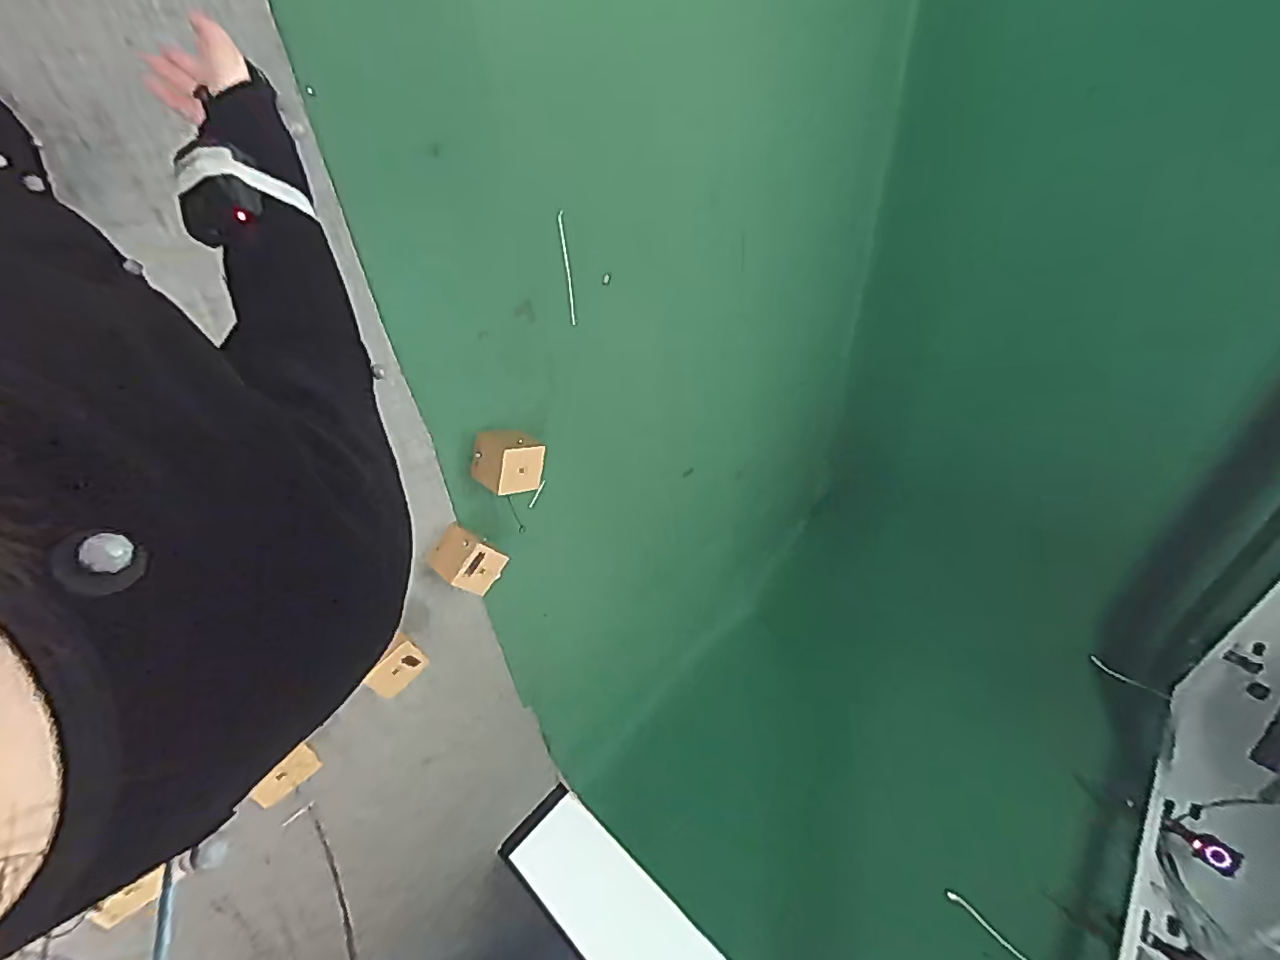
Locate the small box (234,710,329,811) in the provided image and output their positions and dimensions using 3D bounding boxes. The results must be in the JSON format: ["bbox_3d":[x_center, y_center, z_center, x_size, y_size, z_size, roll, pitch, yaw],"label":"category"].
[{"bbox_3d":[-1.098,0.850,1.649,0.179,0.176,0.168,-35,137,-34],"label":"small box"}]

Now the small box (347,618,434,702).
[{"bbox_3d":[-0.837,0.599,1.816,0.179,0.176,0.168,-44,141,-24],"label":"small box"}]

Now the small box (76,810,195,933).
[{"bbox_3d":[-1.352,1.039,1.450,0.179,0.176,0.168,-31,134,-38],"label":"small box"}]

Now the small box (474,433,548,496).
[{"bbox_3d":[-0.451,-0.060,1.880,0.179,0.176,0.168,-11,120,-49],"label":"small box"}]
